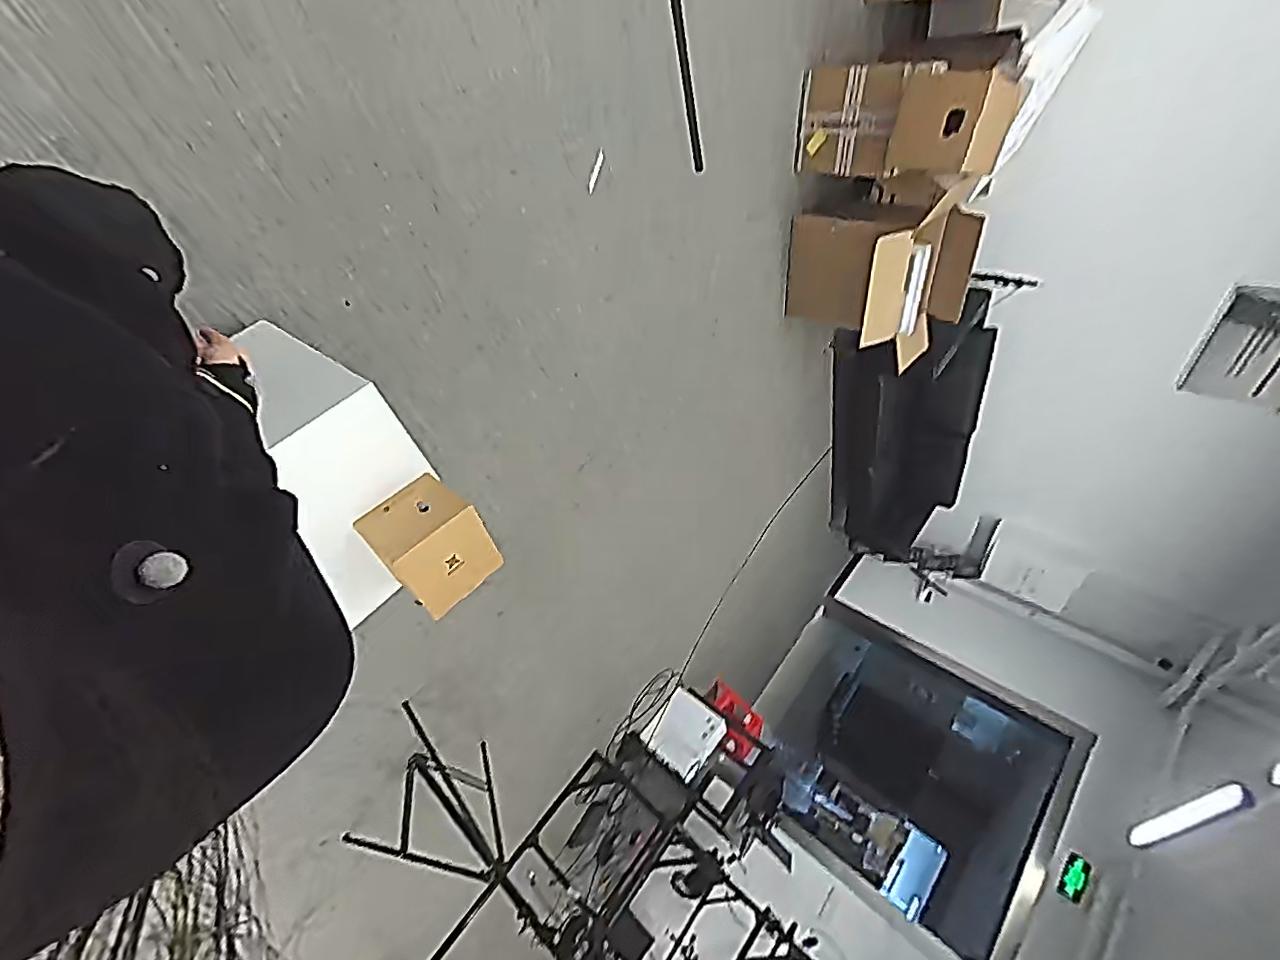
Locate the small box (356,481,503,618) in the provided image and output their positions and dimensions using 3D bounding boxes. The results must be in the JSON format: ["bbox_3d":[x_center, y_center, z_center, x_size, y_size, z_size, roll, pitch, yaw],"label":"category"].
[{"bbox_3d":[-0.400,0.121,1.030,0.168,0.176,0.179,-42,139,-27],"label":"small box"}]
